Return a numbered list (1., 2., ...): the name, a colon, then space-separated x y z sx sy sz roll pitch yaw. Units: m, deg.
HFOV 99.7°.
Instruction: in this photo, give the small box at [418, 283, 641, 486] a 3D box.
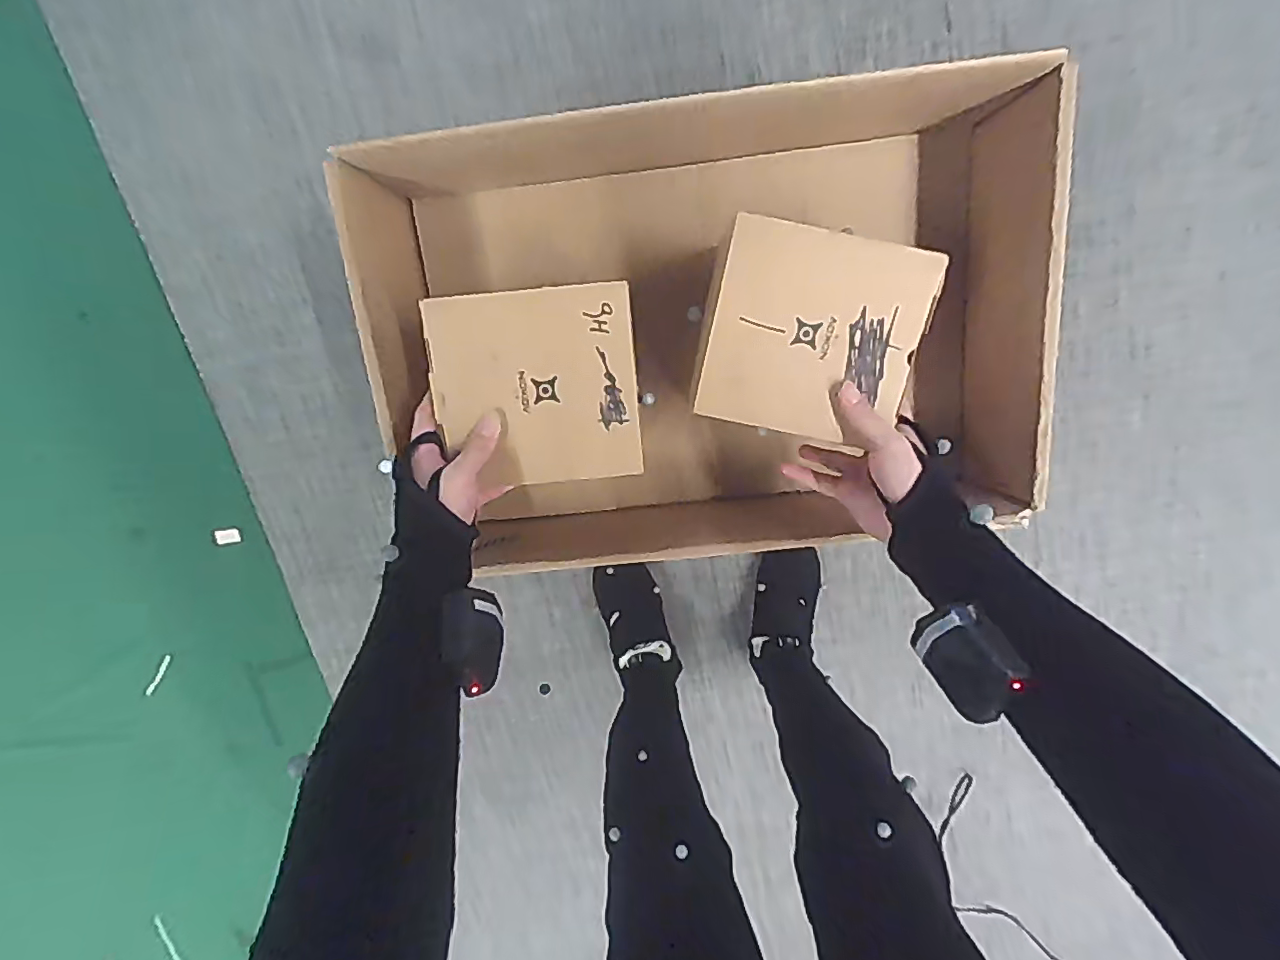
1. small box: -0.093 -0.096 0.545 0.179 0.176 0.168 -5 103 2
